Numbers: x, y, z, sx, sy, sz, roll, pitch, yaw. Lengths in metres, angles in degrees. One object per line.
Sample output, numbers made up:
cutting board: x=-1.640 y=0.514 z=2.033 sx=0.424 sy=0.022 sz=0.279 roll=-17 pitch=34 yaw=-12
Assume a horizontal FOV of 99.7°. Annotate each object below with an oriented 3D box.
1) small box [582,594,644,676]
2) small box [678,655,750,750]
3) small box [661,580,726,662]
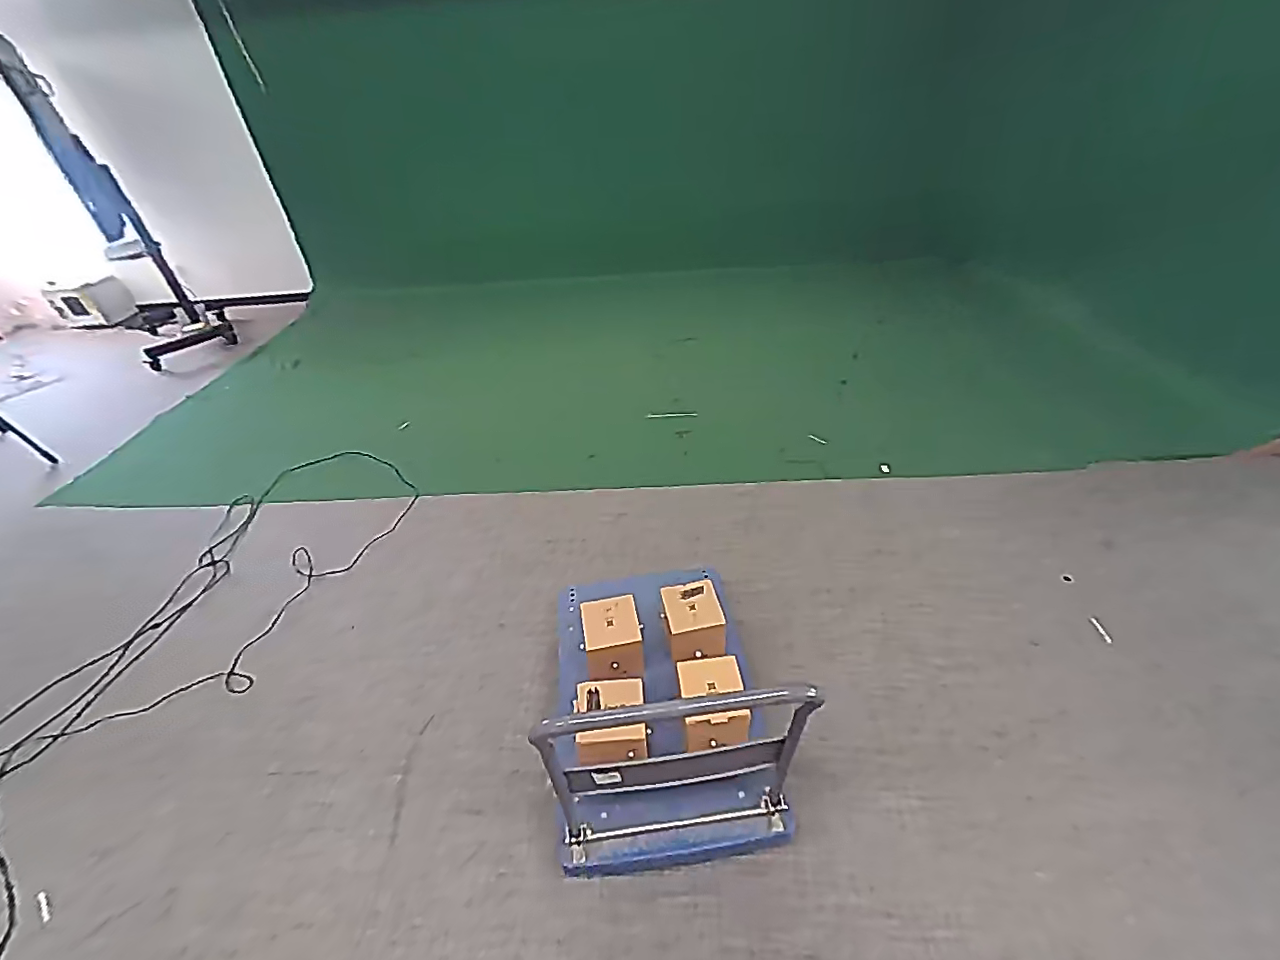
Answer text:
small box: x=-0.083 y=0.486 z=1.673 sx=0.168 sy=0.176 sz=0.179 roll=-9 pitch=39 yaw=-6
small box: x=0.196 y=0.612 z=1.489 sx=0.168 sy=0.176 sz=0.179 roll=-6 pitch=39 yaw=-2
small box: x=0.164 y=0.444 z=1.699 sx=0.168 sy=0.176 sz=0.179 roll=-10 pitch=40 yaw=-5
